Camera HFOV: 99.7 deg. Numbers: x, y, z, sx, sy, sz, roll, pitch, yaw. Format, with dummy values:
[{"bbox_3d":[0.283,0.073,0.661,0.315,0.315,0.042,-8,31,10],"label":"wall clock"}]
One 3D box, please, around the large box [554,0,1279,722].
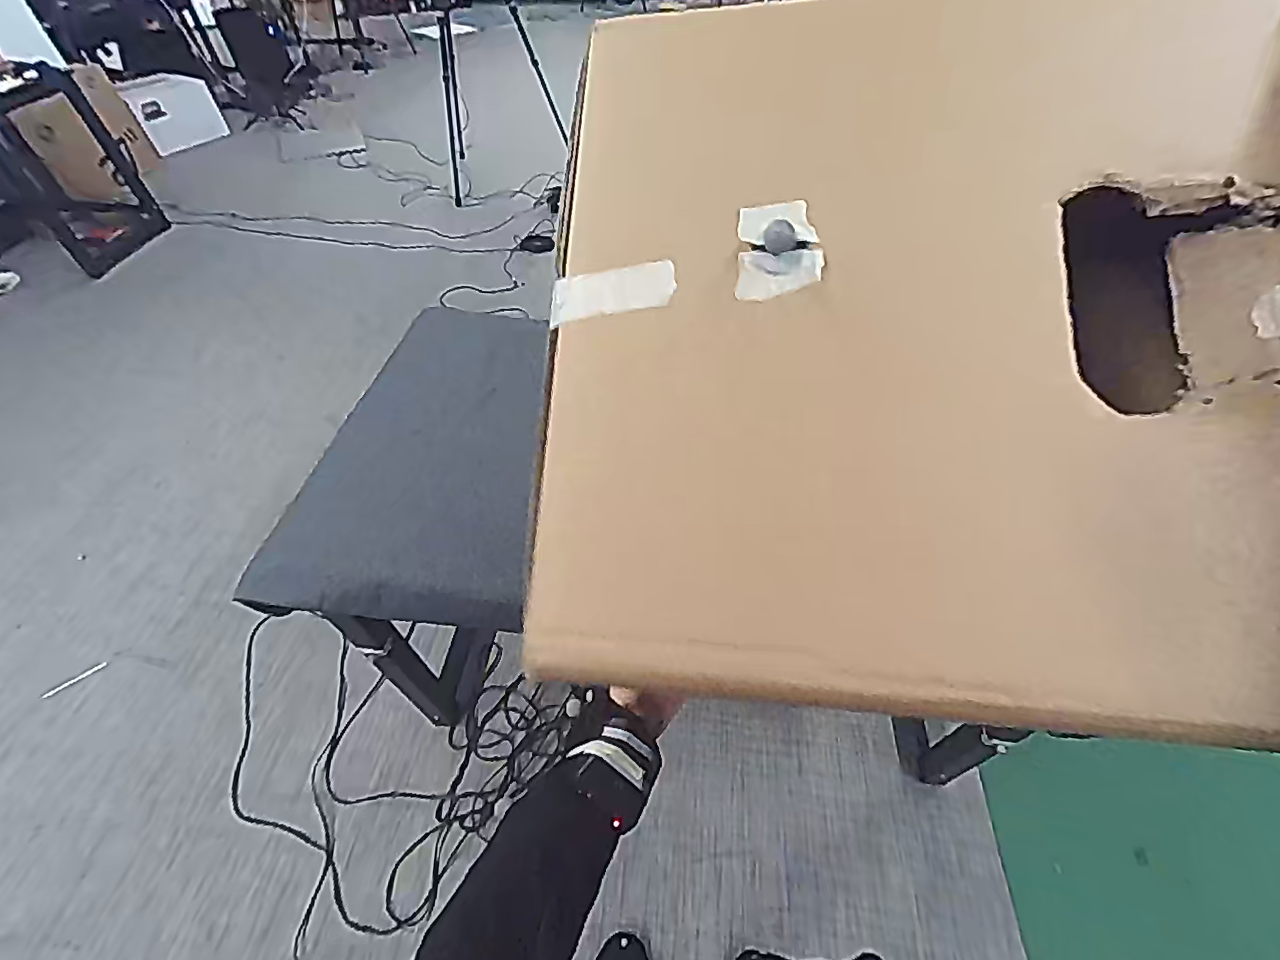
[{"bbox_3d":[0.139,-0.030,0.414,0.320,0.408,0.320,2,78,7],"label":"large box"}]
